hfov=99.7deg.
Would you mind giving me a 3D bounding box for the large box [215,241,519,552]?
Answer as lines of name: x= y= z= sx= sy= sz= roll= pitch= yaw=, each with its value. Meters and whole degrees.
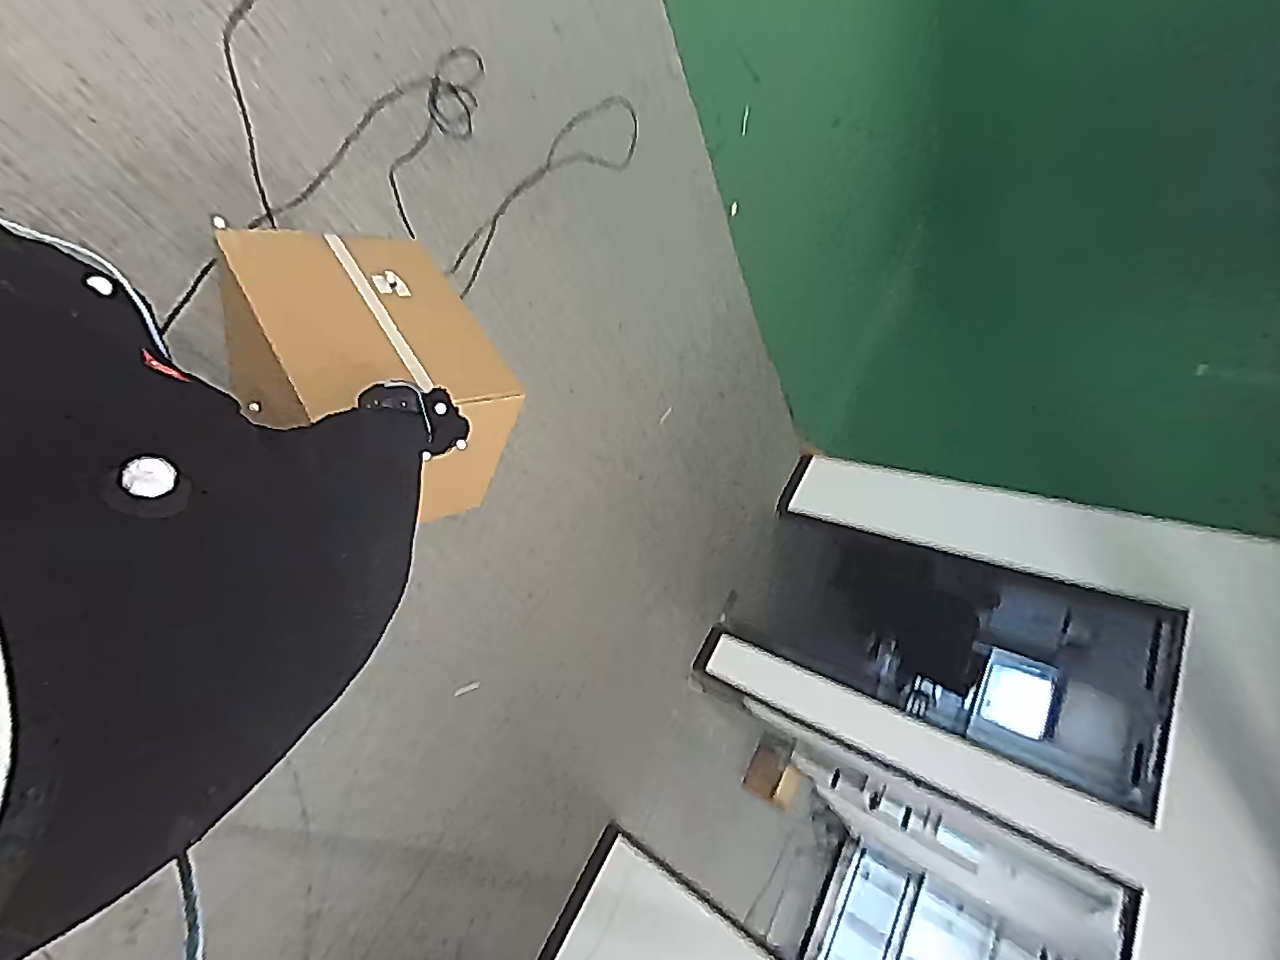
large box: x=-0.477 y=-0.152 z=0.942 sx=0.320 sy=0.408 sz=0.320 roll=-18 pitch=153 yaw=-43
